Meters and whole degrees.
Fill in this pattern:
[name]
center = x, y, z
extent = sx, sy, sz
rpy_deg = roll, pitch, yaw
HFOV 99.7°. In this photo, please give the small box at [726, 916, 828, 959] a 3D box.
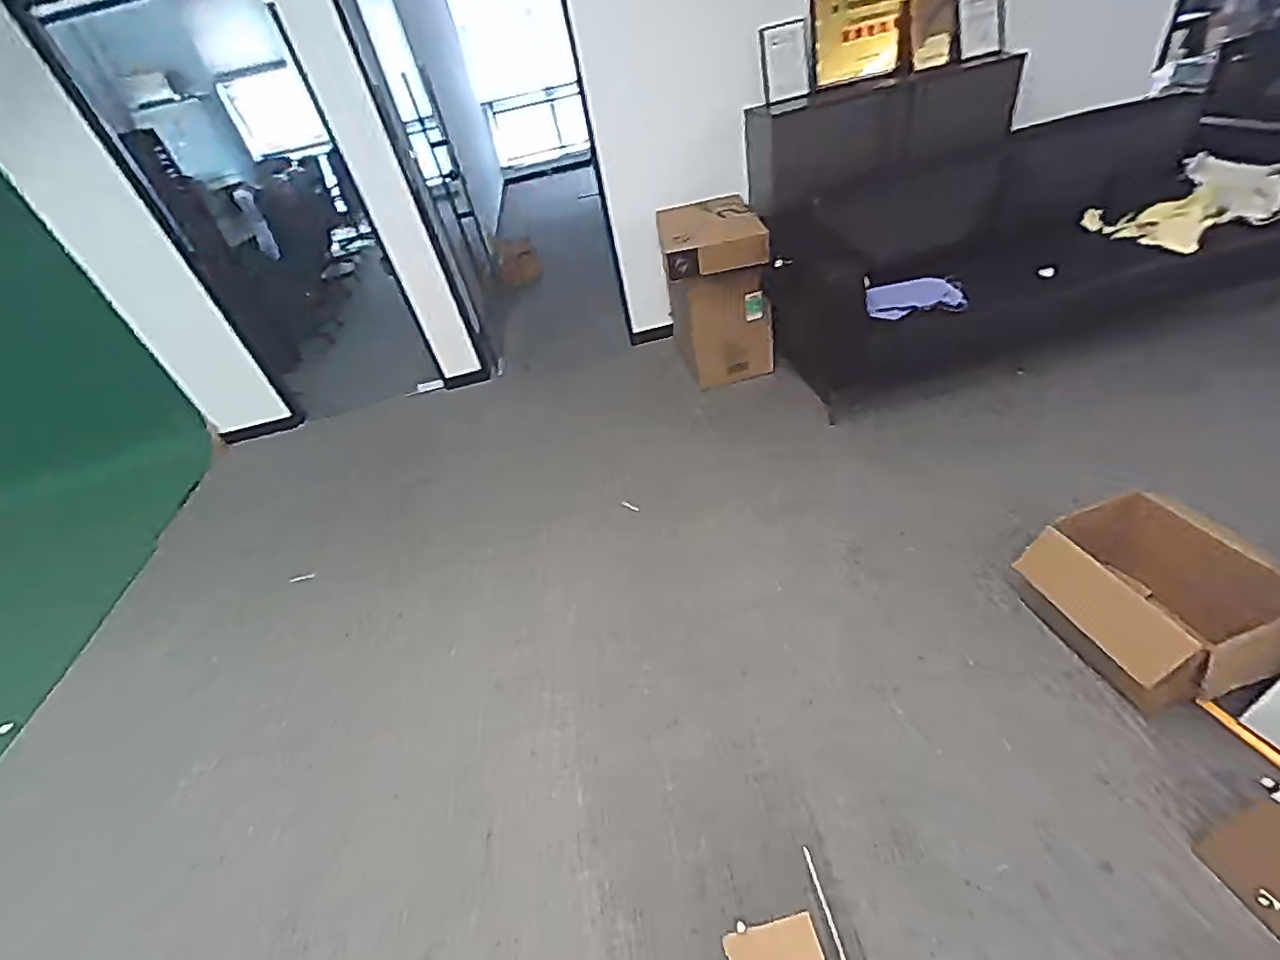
[small box]
center = 0.273, 0.960, 1.016
extent = 0.179, 0.176, 0.168
rpy_deg = -15, 38, -1
